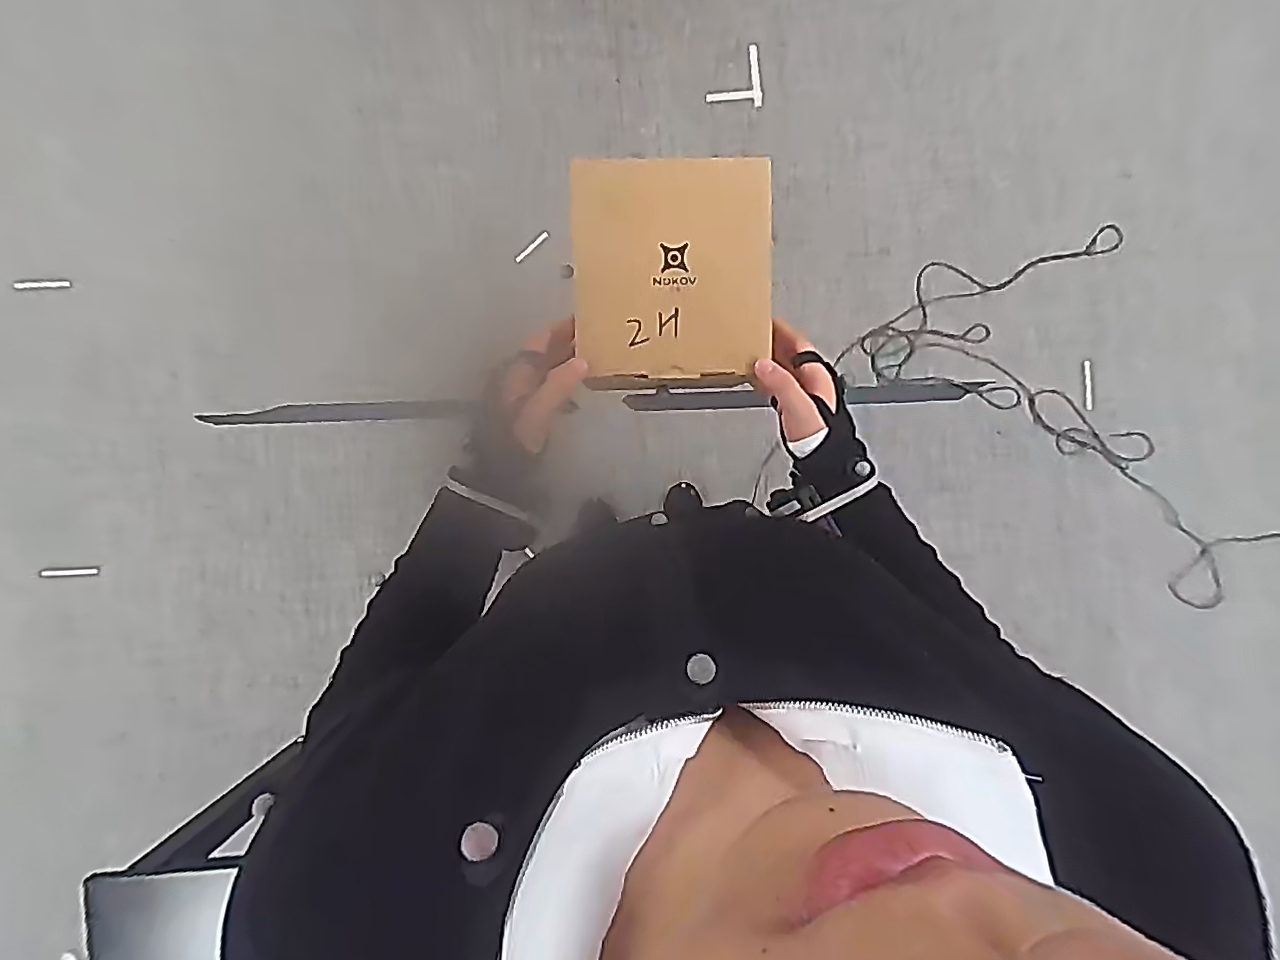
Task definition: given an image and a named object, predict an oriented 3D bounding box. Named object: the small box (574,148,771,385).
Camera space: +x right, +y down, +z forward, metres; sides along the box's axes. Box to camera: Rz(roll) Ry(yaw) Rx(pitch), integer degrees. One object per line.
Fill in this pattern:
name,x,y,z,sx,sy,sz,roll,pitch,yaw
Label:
small box,0.024,-0.189,0.526,0.168,0.176,0.179,-1,95,-1
